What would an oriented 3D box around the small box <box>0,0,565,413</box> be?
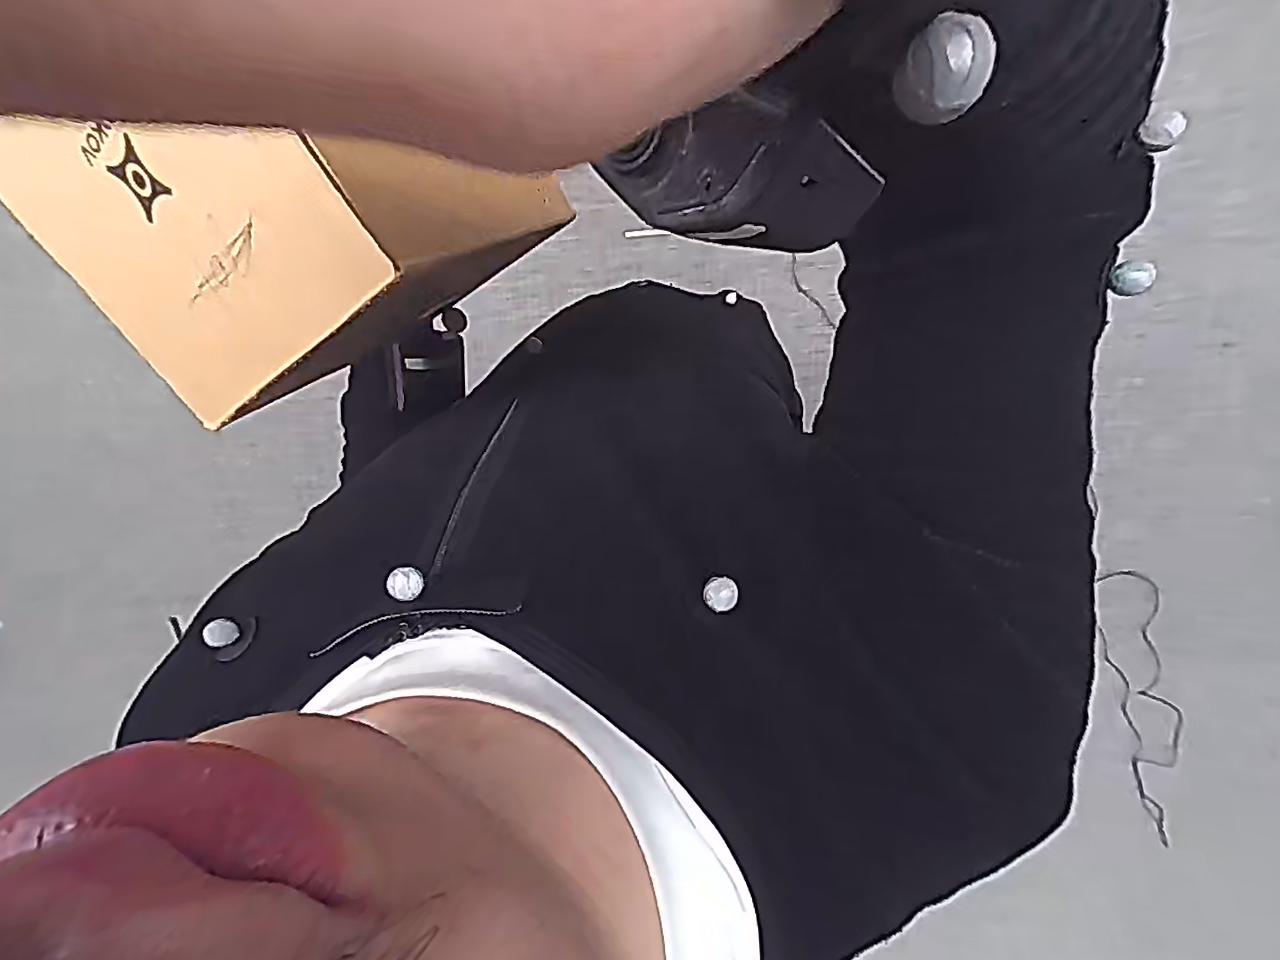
[{"bbox_3d":[-0.171,-0.168,0.283,0.168,0.176,0.179,-19,113,30],"label":"small box"}]
